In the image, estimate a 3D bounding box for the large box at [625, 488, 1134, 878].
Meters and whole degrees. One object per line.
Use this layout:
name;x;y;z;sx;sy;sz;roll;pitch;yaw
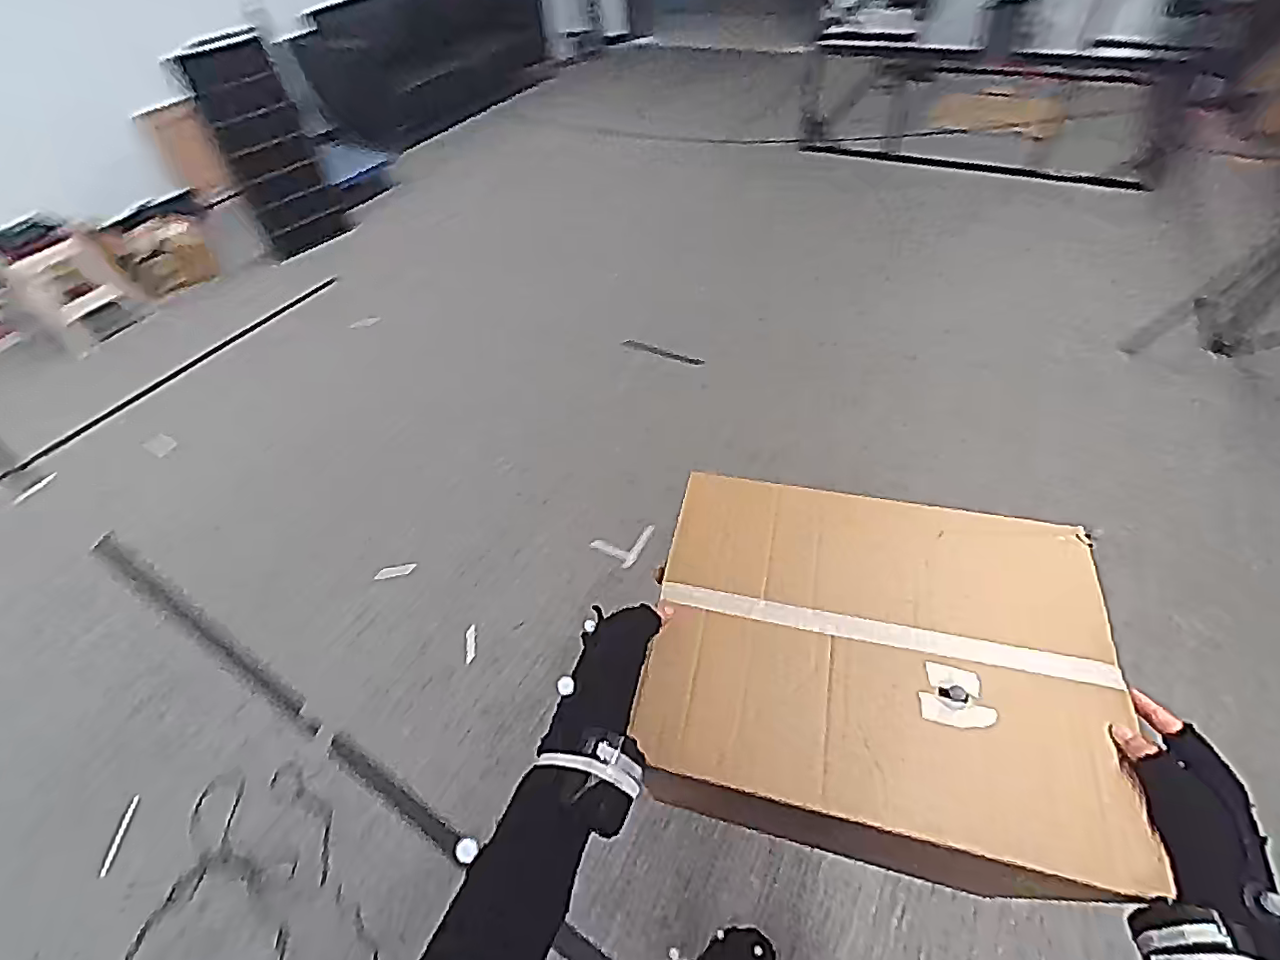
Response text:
large box;0.219;0.240;0.642;0.408;0.320;0.320;7;56;11
